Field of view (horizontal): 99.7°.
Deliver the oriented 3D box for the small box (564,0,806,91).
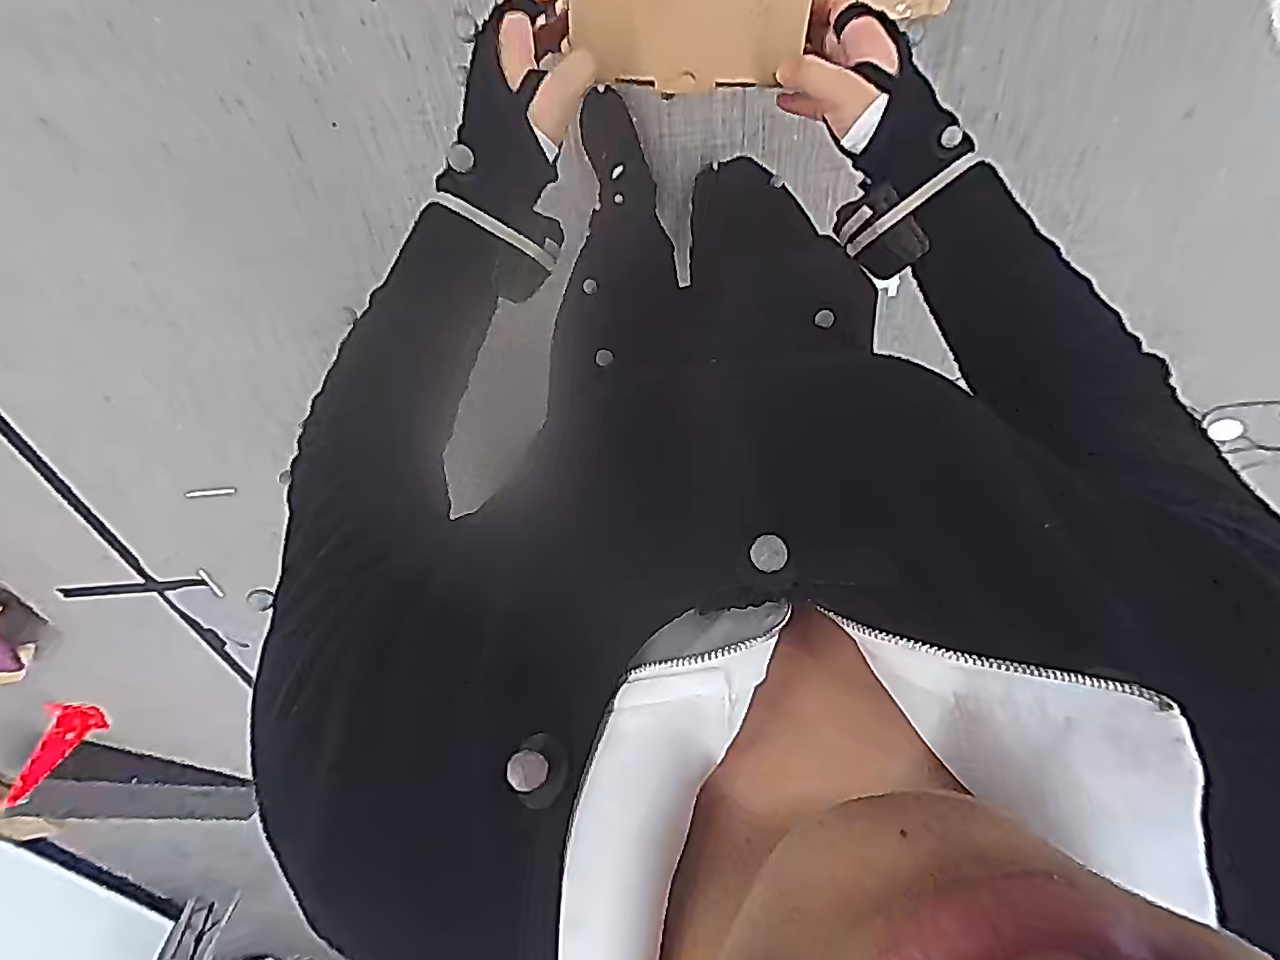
[{"bbox_3d":[0.028,-0.404,0.394,0.168,0.176,0.179,-2,132,-5],"label":"small box"}]
